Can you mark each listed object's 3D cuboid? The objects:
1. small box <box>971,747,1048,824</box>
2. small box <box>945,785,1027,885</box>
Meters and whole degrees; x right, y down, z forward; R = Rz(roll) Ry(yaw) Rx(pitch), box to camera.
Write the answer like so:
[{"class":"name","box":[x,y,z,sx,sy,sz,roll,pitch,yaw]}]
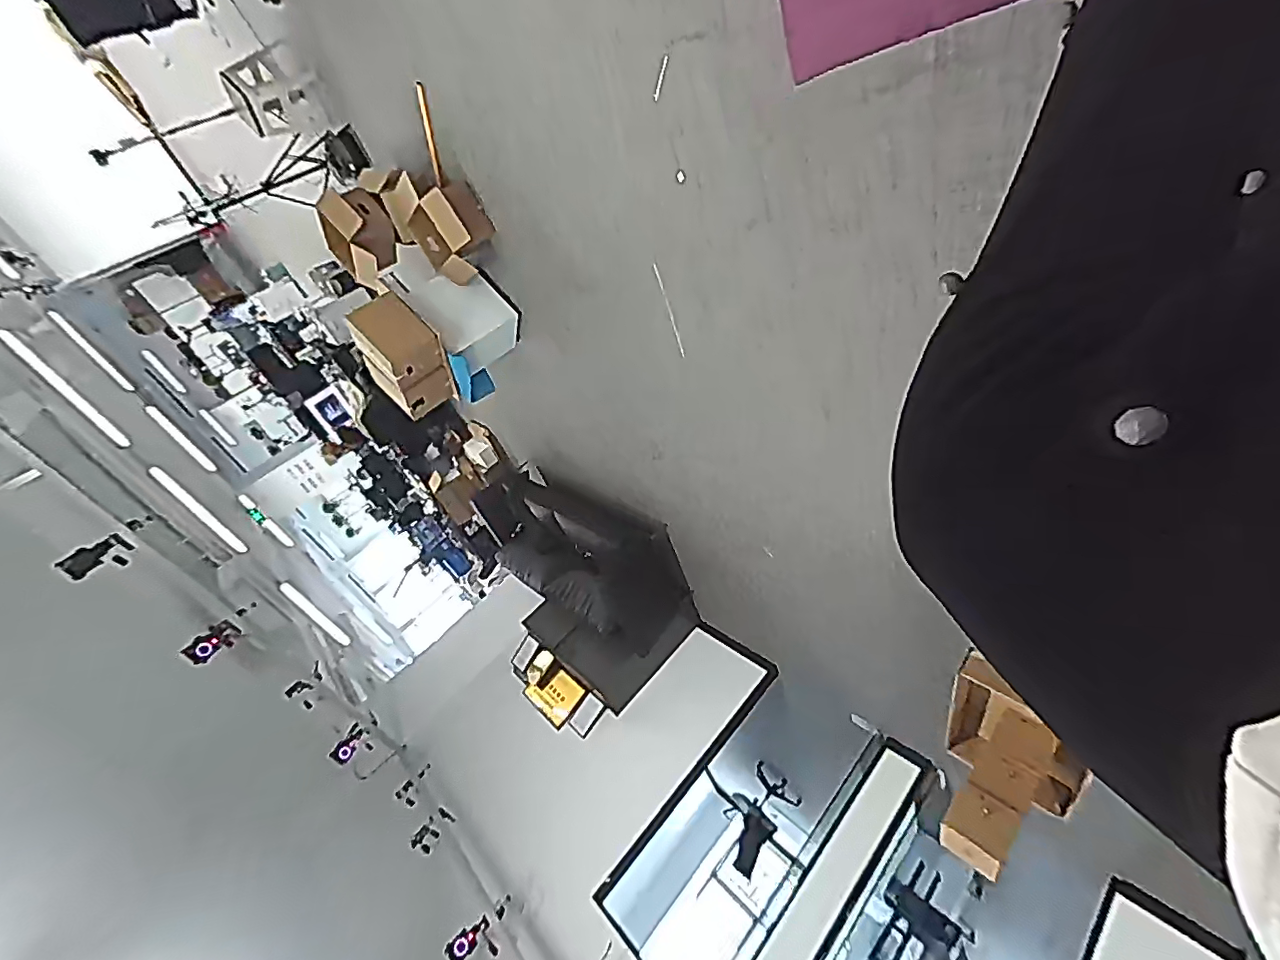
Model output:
[{"class":"small box","box":[1.210,1.029,1.783,0.168,0.176,0.179,26,145,43]},{"class":"small box","box":[1.090,1.113,1.705,0.168,0.176,0.179,24,143,44]}]
